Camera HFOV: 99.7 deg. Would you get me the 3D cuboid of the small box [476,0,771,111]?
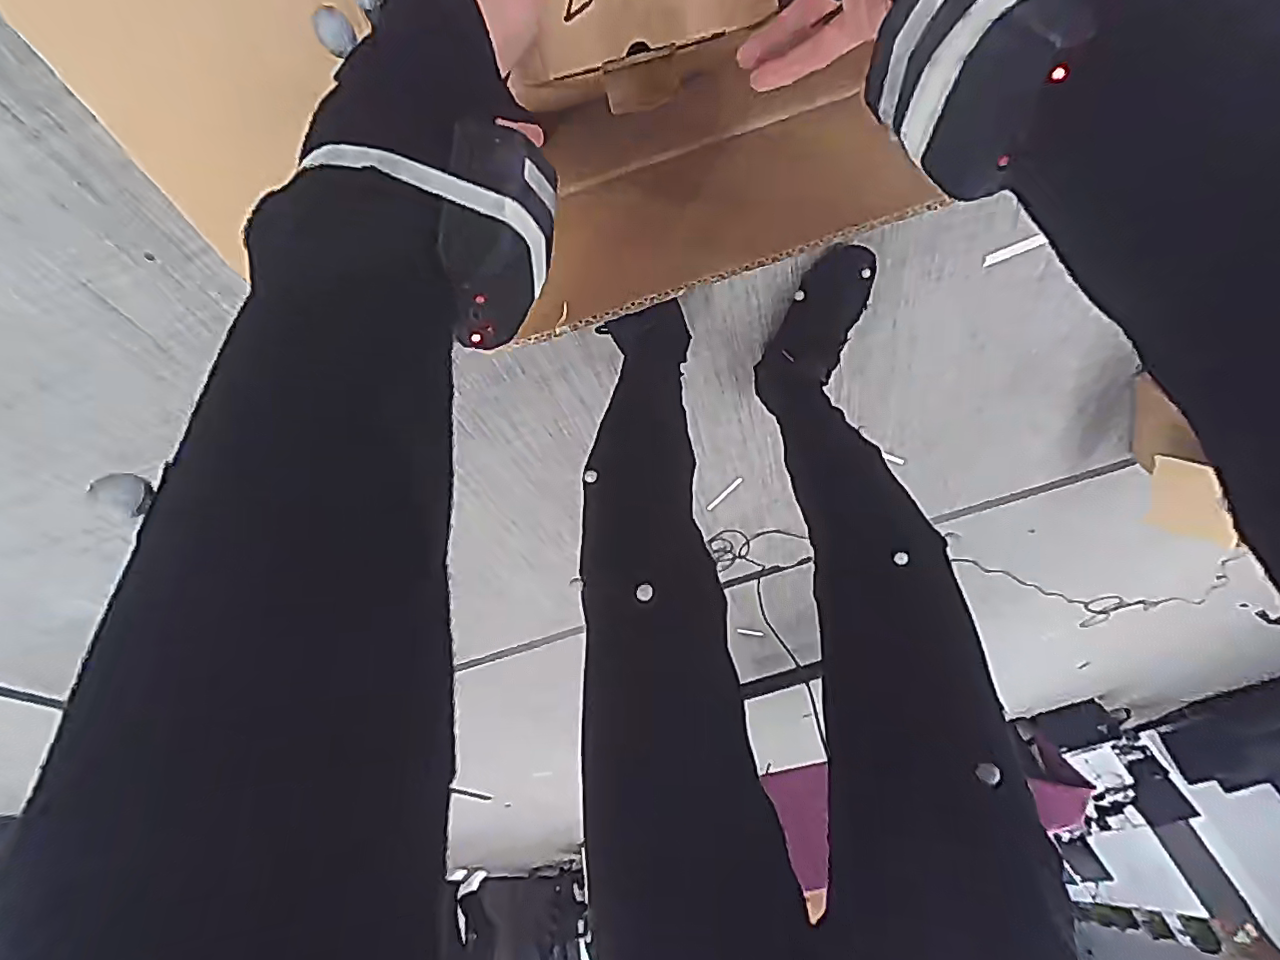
[{"bbox_3d":[-0.028,-0.360,0.341,0.168,0.176,0.179,-13,121,3],"label":"small box"}]
